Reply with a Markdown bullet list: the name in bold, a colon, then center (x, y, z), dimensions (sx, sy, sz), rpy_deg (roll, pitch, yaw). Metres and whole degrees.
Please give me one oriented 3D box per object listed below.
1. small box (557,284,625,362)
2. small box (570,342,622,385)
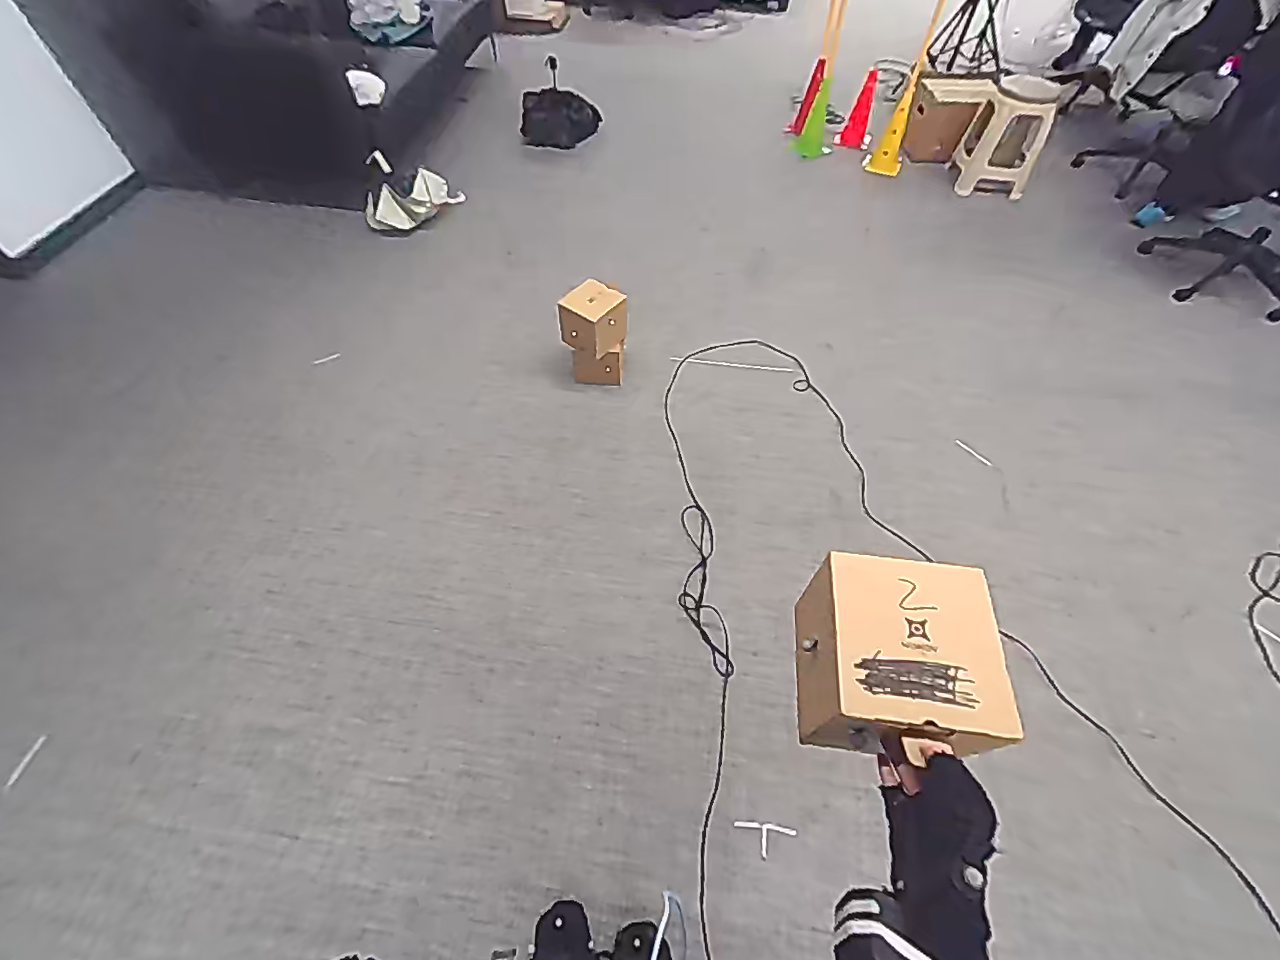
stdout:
- **small box**: center (-0.164, -0.542, 1.878), dimensions (0.168, 0.176, 0.179), rpy_deg (33, 59, 20)
- **small box**: center (-0.158, -0.469, 2.007), dimensions (0.179, 0.176, 0.168), rpy_deg (3, 54, 1)
